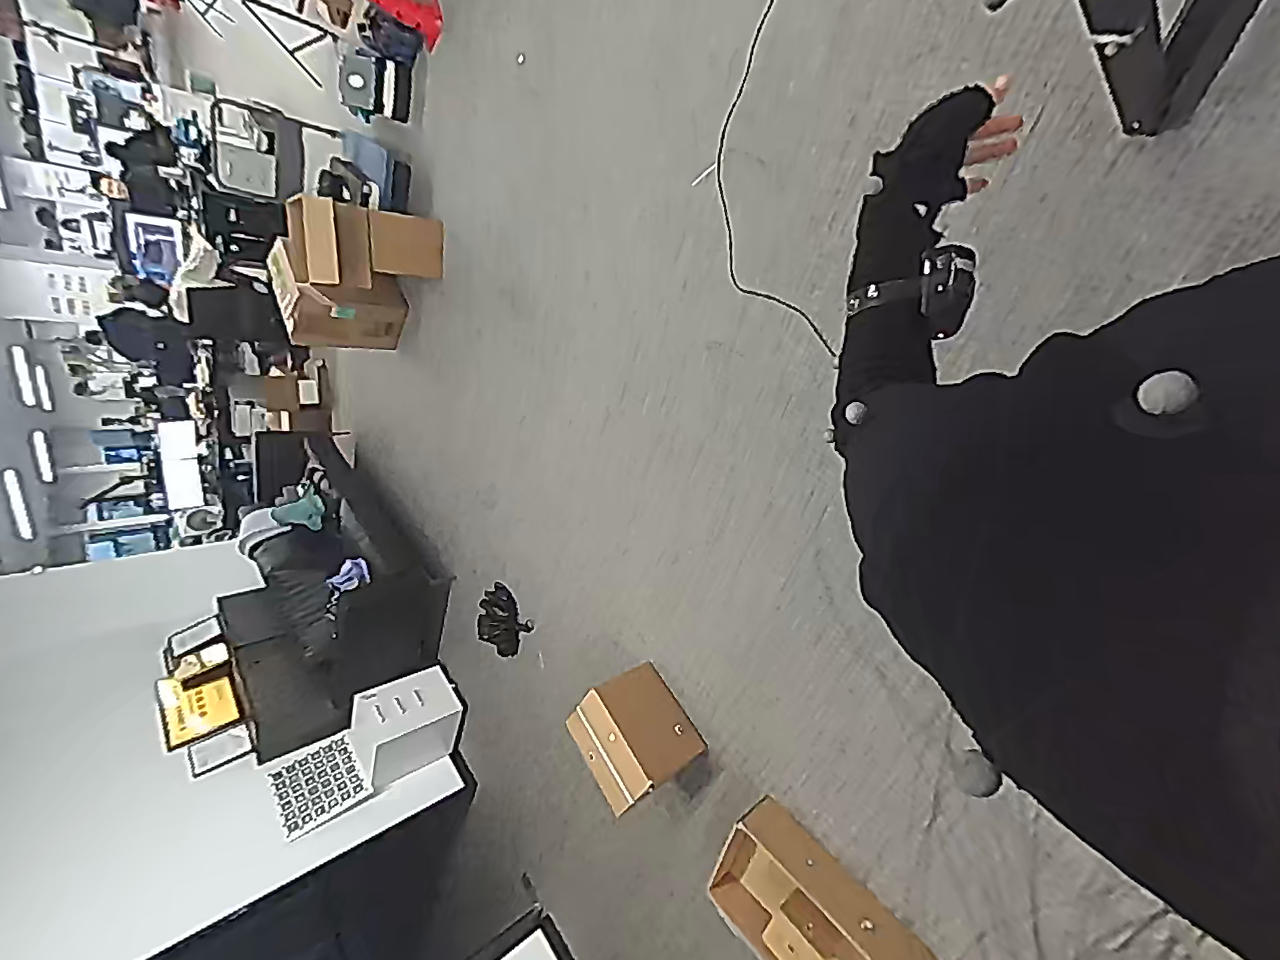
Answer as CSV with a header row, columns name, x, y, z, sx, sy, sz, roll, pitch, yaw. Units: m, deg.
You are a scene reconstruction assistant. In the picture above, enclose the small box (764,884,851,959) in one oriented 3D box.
name,x,y,z,sx,sy,sz,roll,pitch,yaw
small box,0.527,1.429,1.695,0.179,0.176,0.168,35,120,39
